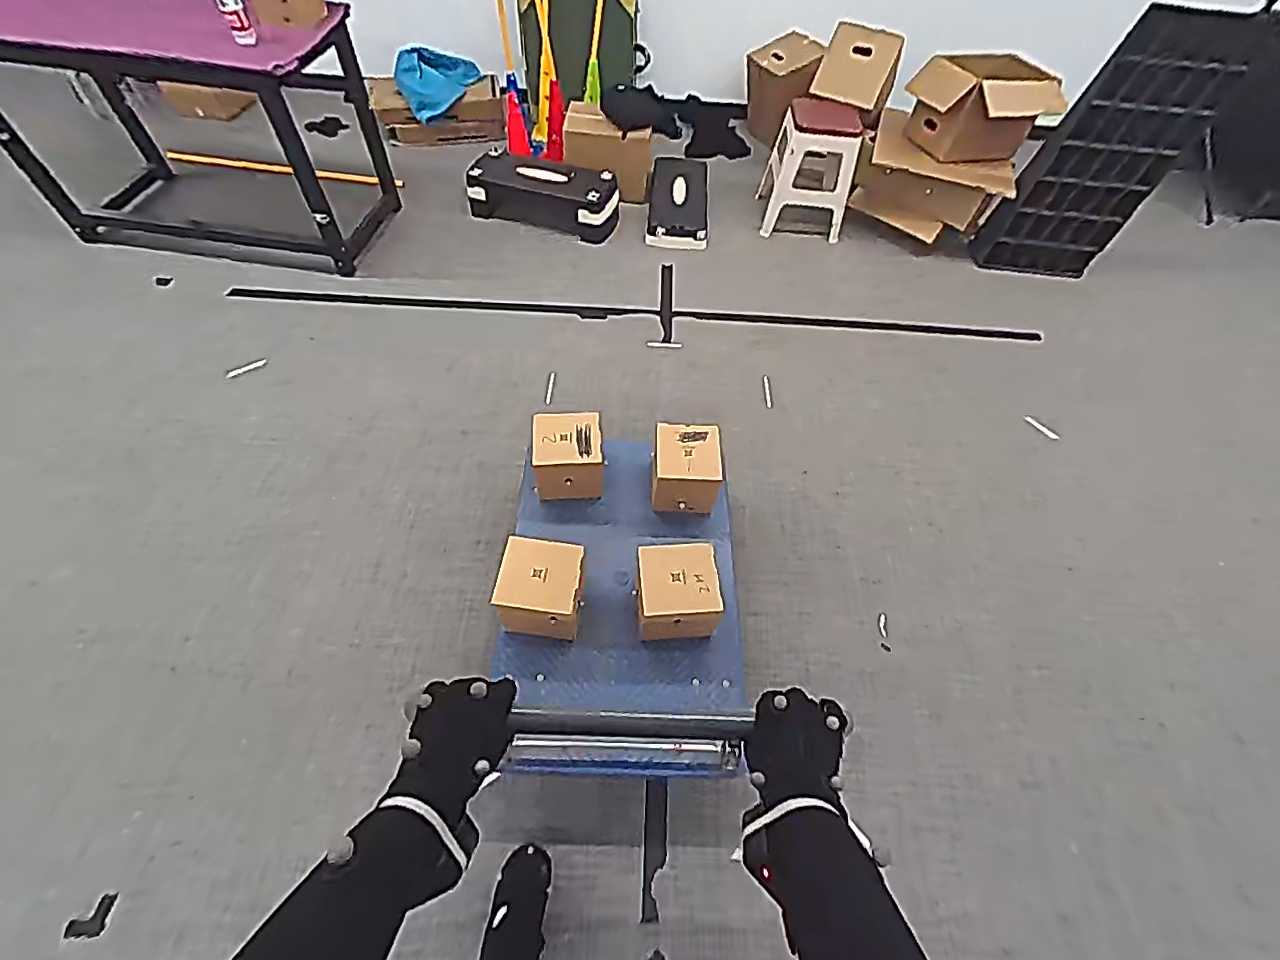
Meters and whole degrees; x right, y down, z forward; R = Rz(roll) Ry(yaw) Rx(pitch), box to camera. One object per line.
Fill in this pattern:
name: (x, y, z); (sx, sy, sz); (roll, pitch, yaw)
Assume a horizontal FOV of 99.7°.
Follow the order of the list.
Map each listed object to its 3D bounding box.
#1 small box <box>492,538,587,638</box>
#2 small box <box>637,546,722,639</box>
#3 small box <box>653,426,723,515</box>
small box: (-0.223, 0.253, 1.250); (0.179, 0.176, 0.168); (8, 56, 0)
small box: (0.083, 0.266, 1.261); (0.179, 0.176, 0.168); (-2, 57, -5)
small box: (0.124, -0.024, 1.458); (0.168, 0.176, 0.179); (3, 57, -2)
